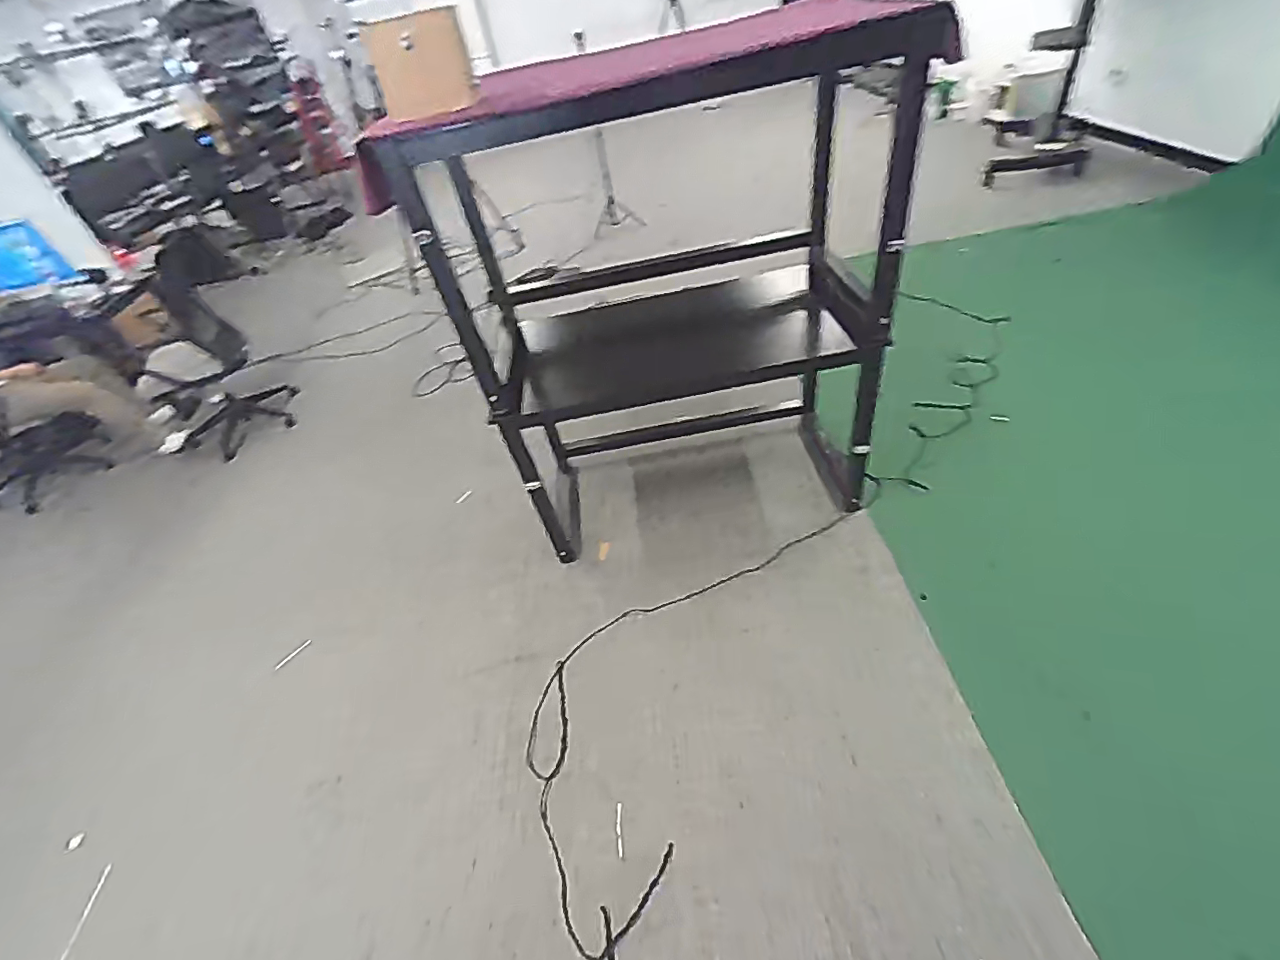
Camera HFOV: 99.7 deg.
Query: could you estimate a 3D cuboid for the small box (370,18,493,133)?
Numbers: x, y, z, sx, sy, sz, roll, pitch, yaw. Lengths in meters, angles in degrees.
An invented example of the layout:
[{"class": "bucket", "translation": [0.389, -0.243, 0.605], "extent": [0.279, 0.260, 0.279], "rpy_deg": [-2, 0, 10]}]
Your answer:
[{"class": "small box", "translation": [-0.435, -0.863, 1.158], "extent": [0.179, 0.176, 0.168], "rpy_deg": [-10, 42, 2]}]
